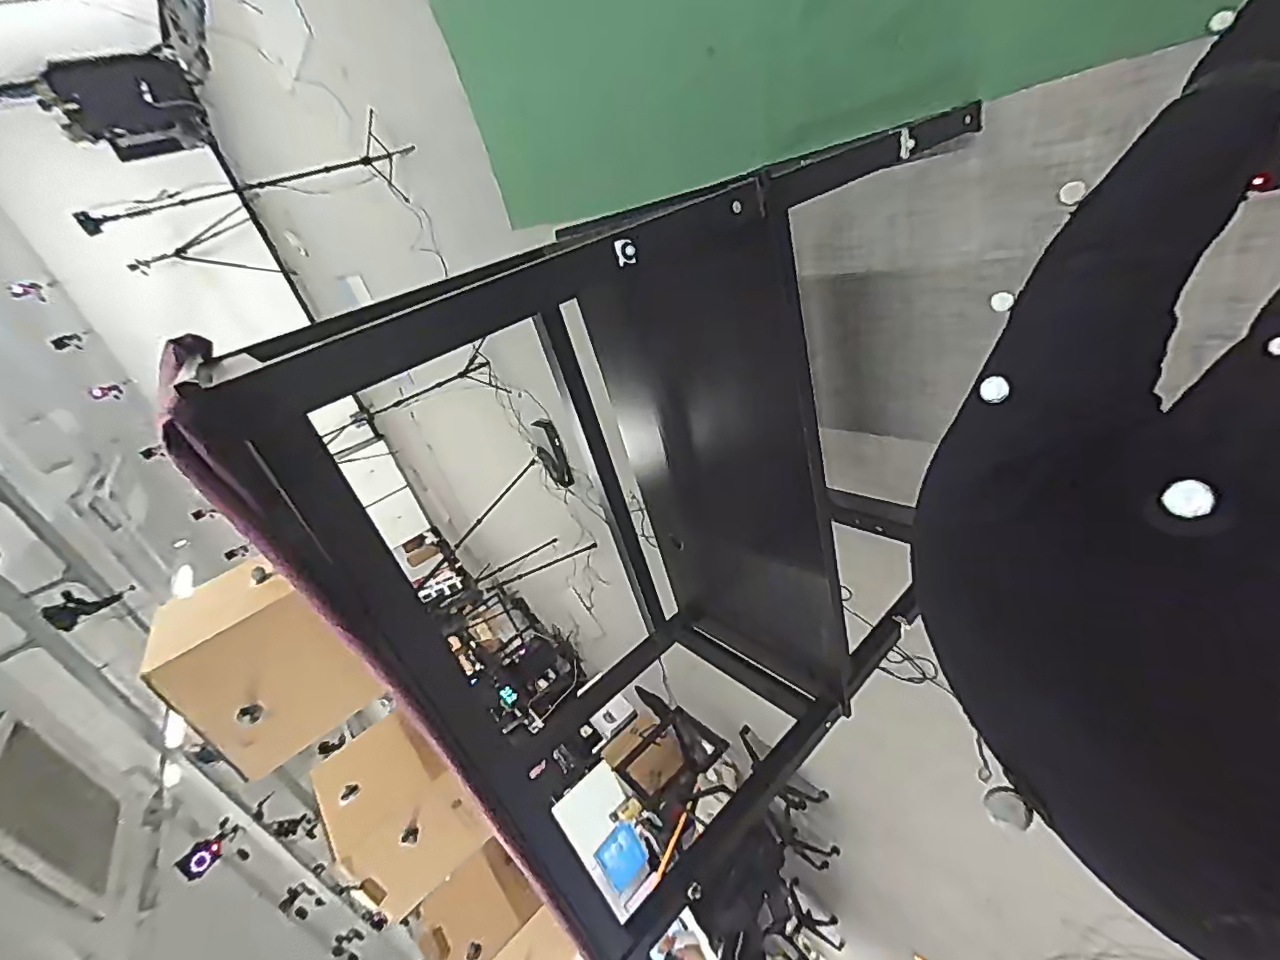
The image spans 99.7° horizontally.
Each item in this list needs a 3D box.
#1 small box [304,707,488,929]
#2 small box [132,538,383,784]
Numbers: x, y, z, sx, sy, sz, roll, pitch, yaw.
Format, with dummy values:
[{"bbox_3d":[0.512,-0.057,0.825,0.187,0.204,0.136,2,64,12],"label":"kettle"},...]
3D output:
[{"bbox_3d":[-0.340,0.466,0.774,0.179,0.176,0.168,21,135,49],"label":"small box"},{"bbox_3d":[-0.433,0.201,0.639,0.168,0.176,0.179,20,135,51],"label":"small box"}]
